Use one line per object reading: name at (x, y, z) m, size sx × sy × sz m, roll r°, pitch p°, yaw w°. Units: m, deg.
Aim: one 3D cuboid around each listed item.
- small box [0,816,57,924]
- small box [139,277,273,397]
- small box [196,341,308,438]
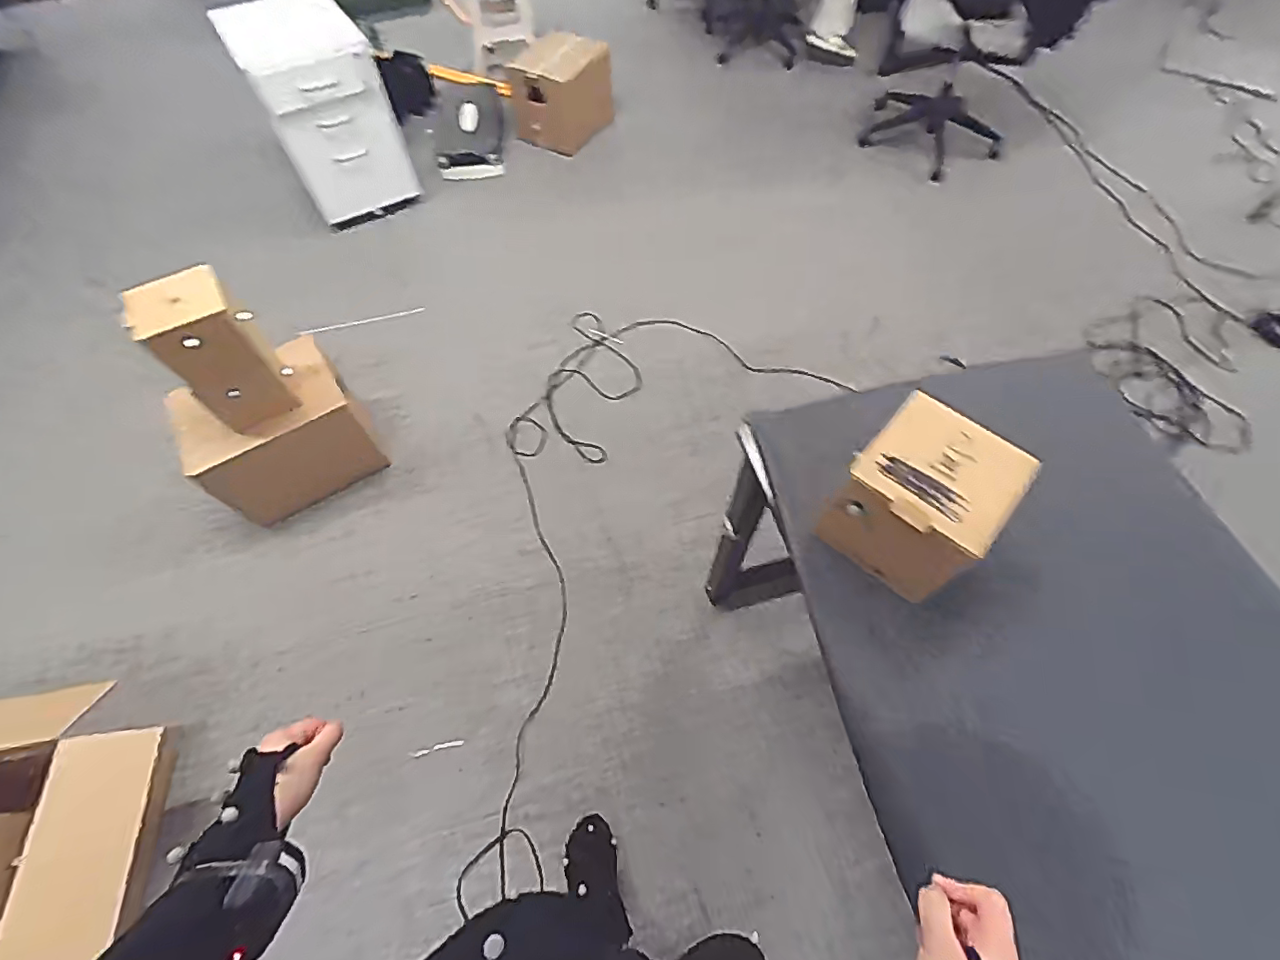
small box at (-1.218, 0.716, 0.956) m, size 0.179 × 0.176 × 0.168 m, roll -15°, pitch 63°, yaw -8°
small box at (-0.989, -0.326, 1.250) m, size 0.179 × 0.176 × 0.168 m, roll -29°, pitch 65°, yaw -15°
small box at (-1.000, -0.239, 1.387) m, size 0.179 × 0.176 × 0.168 m, roll -29°, pitch 64°, yaw -16°
